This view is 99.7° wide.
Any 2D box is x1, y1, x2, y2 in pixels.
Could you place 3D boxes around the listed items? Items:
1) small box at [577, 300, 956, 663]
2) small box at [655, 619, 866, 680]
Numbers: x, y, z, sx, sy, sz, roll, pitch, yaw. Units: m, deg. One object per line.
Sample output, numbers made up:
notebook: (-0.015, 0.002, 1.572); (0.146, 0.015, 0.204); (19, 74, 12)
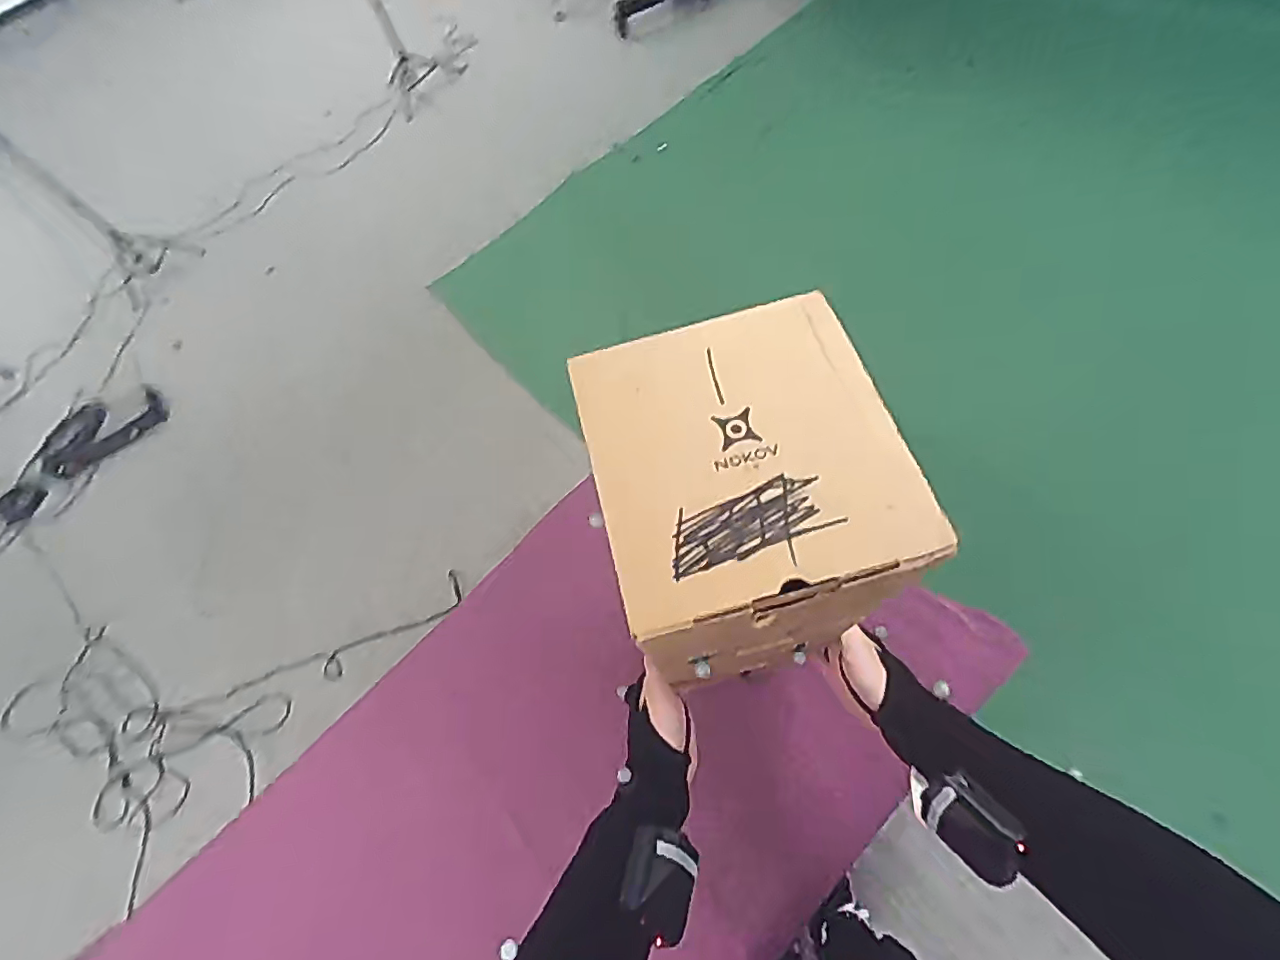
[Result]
small box: (0.066, 0.017, 0.367); (0.168, 0.176, 0.179); (-14, 64, 0)
small box: (0.086, 0.085, 0.514); (0.168, 0.176, 0.179); (-13, 64, 1)
